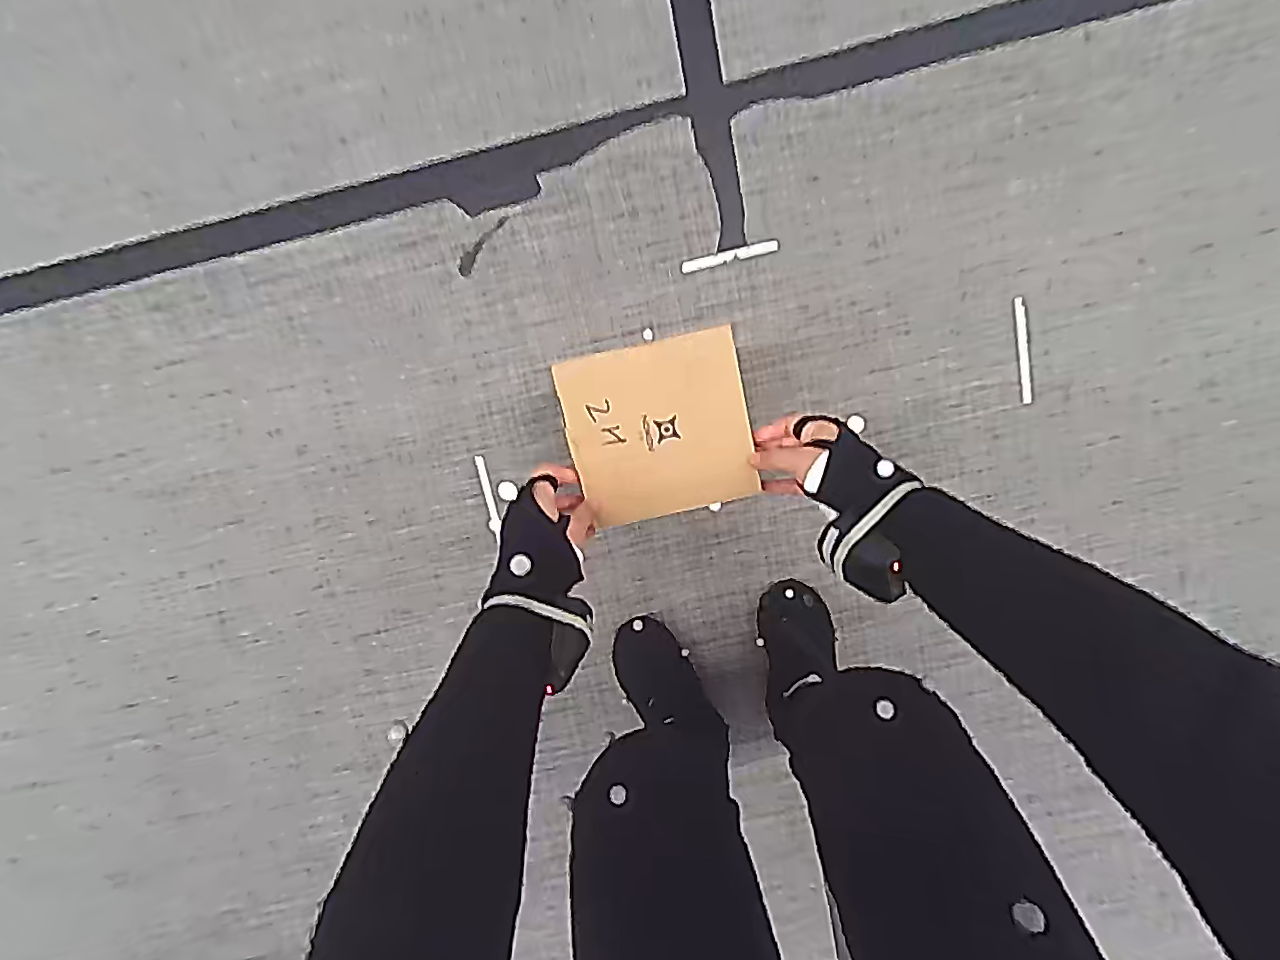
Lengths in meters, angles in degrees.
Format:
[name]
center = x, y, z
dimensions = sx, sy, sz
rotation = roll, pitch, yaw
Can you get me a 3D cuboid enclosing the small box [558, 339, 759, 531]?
[small box]
center = 0.020, -0.056, 0.610
dimensions = 0.179, 0.176, 0.168
rotation = -12, 98, 3
